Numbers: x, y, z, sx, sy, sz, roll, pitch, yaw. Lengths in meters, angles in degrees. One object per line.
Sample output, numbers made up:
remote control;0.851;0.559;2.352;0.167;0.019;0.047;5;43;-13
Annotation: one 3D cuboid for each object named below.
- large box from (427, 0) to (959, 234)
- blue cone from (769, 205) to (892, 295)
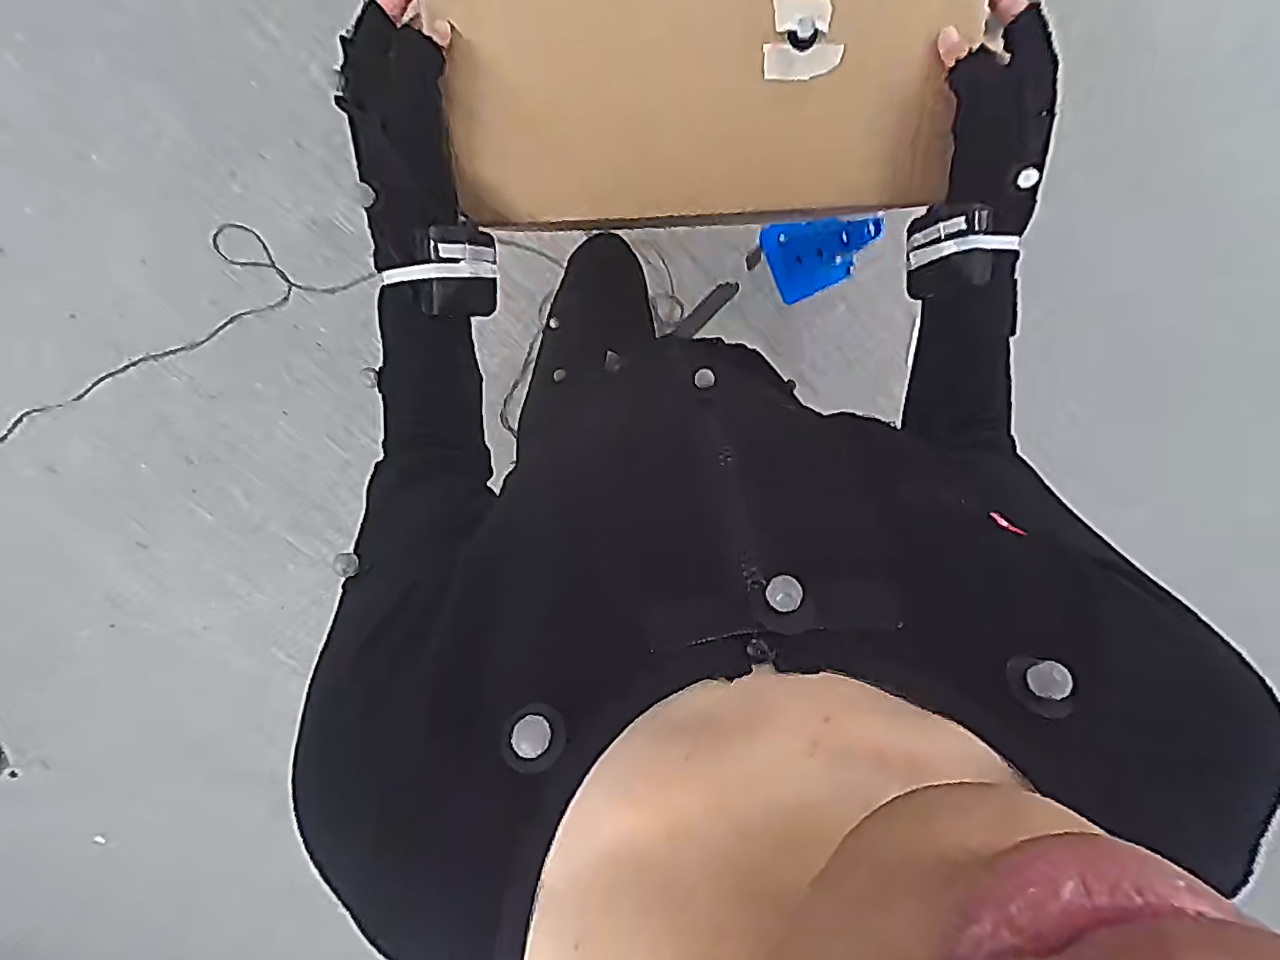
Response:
large box;0.030;-0.428;0.526;0.408;0.320;0.320;-5;113;-3
blue cone;0.443;-0.540;1.208;0.192;0.380;0.193;-24;106;3
